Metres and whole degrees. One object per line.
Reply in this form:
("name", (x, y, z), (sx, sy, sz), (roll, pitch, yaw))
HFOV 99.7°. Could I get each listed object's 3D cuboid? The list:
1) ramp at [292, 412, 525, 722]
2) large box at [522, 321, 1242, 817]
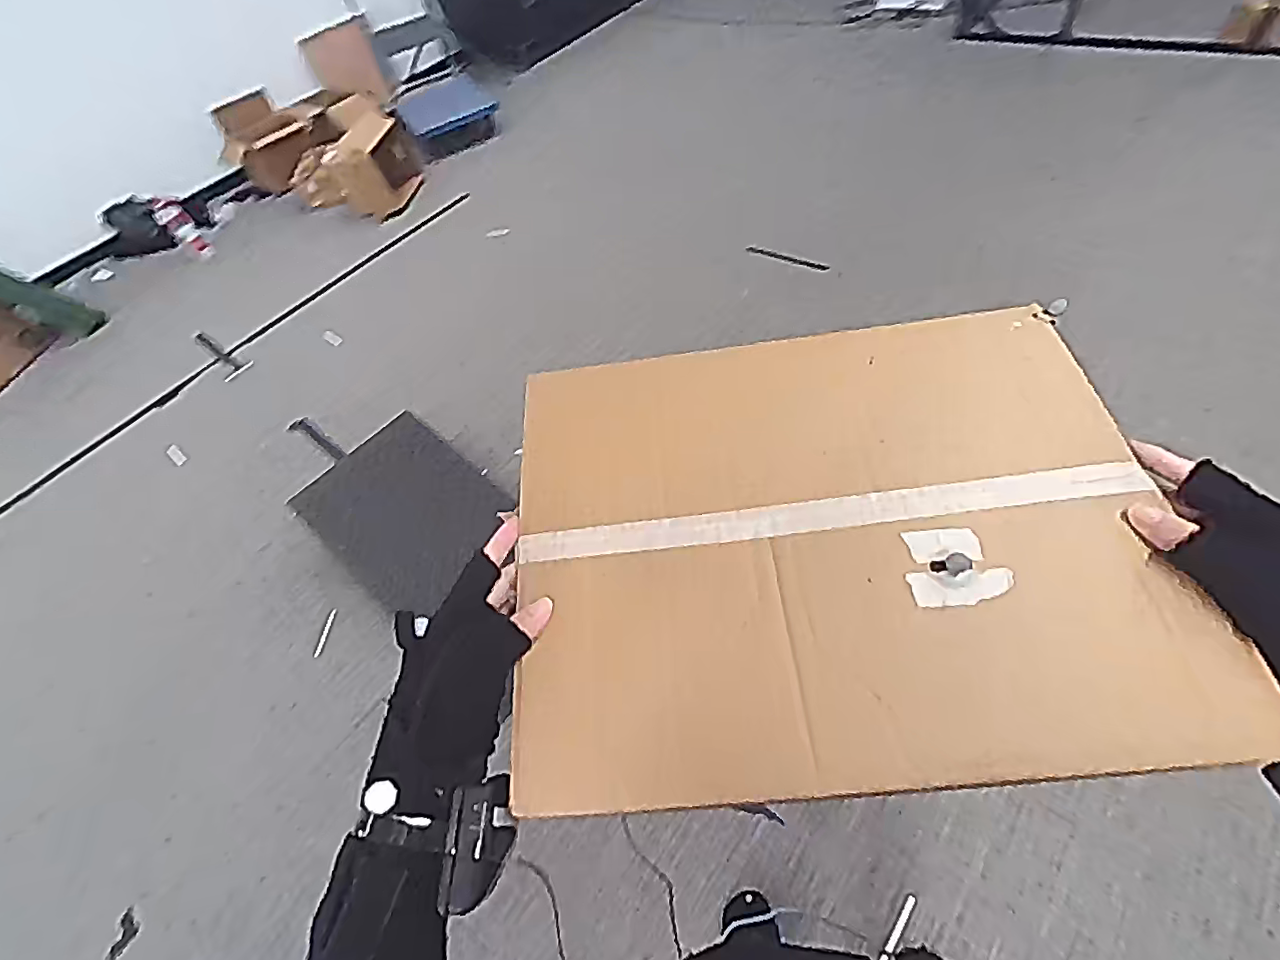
("ramp", (-0.589, 0.200, 1.665), (0.991, 0.206, 0.509), (31, 65, 28))
("large box", (0.128, 0.103, 0.499), (0.408, 0.320, 0.320), (-8, 61, 3))
